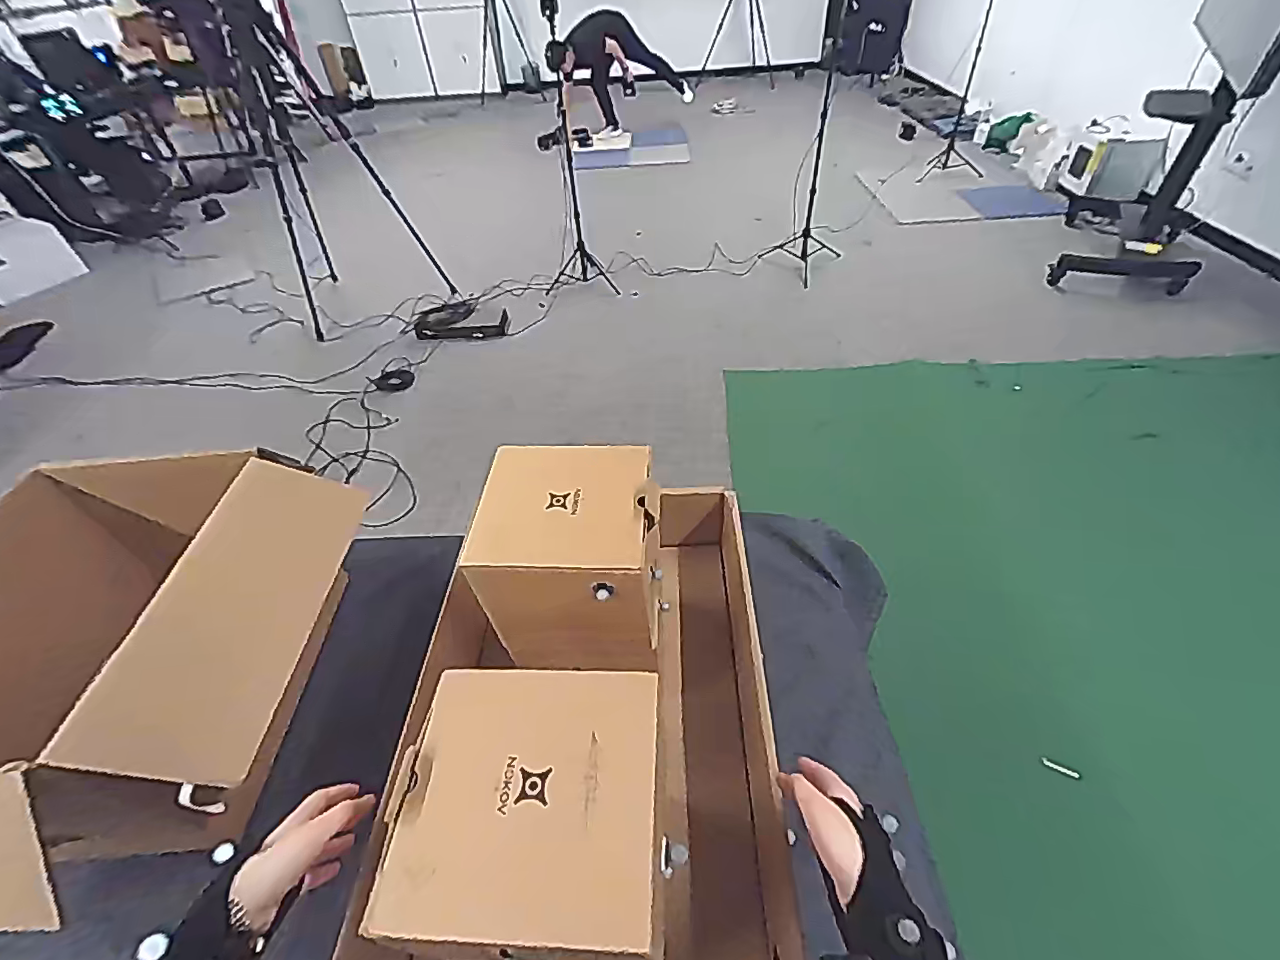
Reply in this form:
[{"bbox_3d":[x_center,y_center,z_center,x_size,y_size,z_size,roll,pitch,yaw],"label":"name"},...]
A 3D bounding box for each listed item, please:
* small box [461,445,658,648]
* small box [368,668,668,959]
[{"bbox_3d":[-0.073,0.077,0.612,0.179,0.176,0.168,1,47,4],"label":"small box"},{"bbox_3d":[-0.070,0.265,0.431,0.179,0.176,0.168,-1,47,4],"label":"small box"}]
